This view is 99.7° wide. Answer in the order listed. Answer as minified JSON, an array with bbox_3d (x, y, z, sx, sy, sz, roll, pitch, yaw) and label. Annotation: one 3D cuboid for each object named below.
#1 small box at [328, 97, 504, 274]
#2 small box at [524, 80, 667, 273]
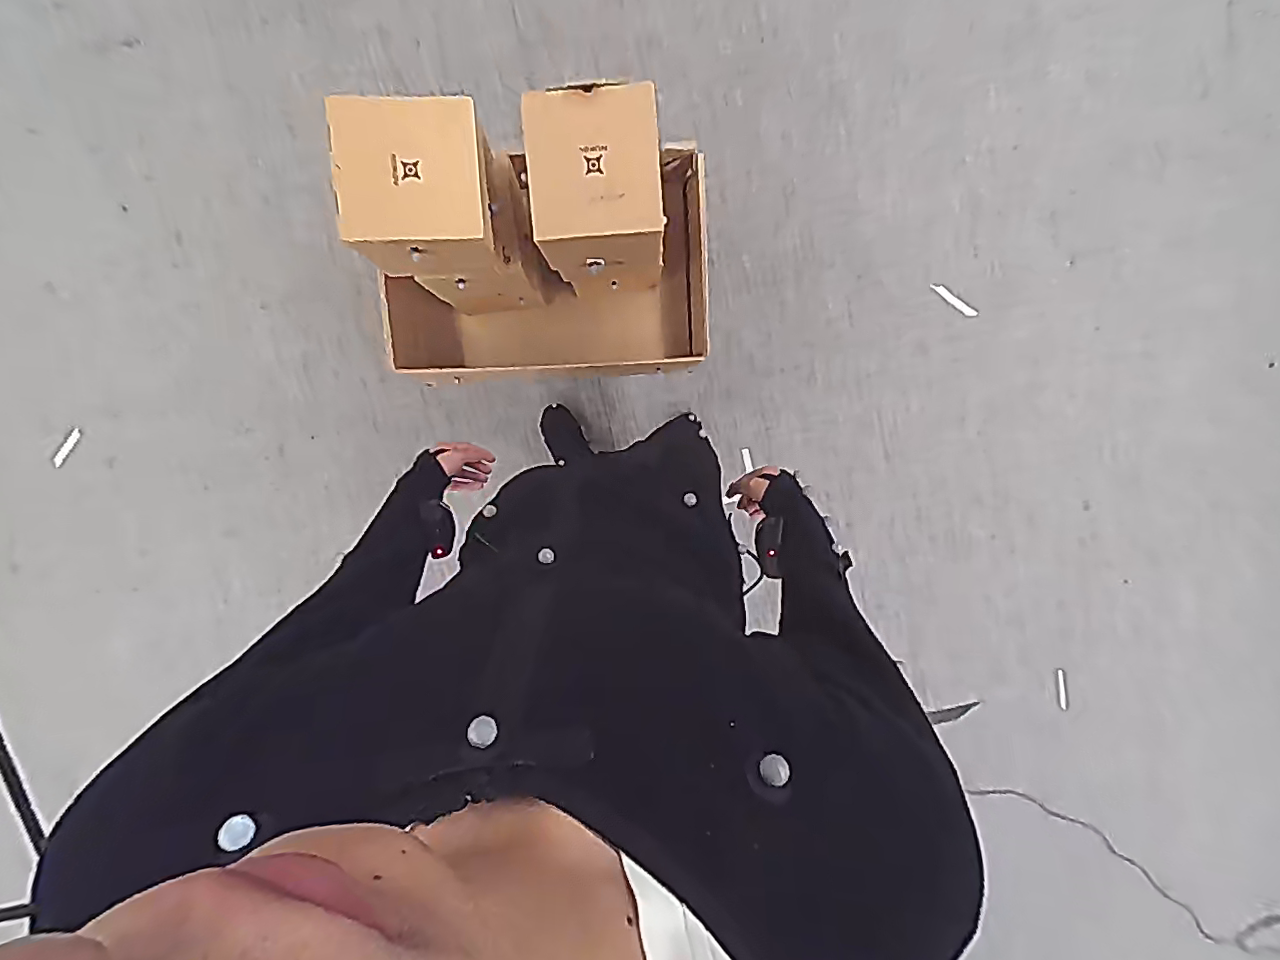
[{"bbox_3d":[-0.284,-0.384,0.731,0.179,0.176,0.168,-3,97,-4],"label":"small box"},{"bbox_3d":[-0.055,-0.399,0.737,0.168,0.176,0.179,-4,97,0],"label":"small box"}]
